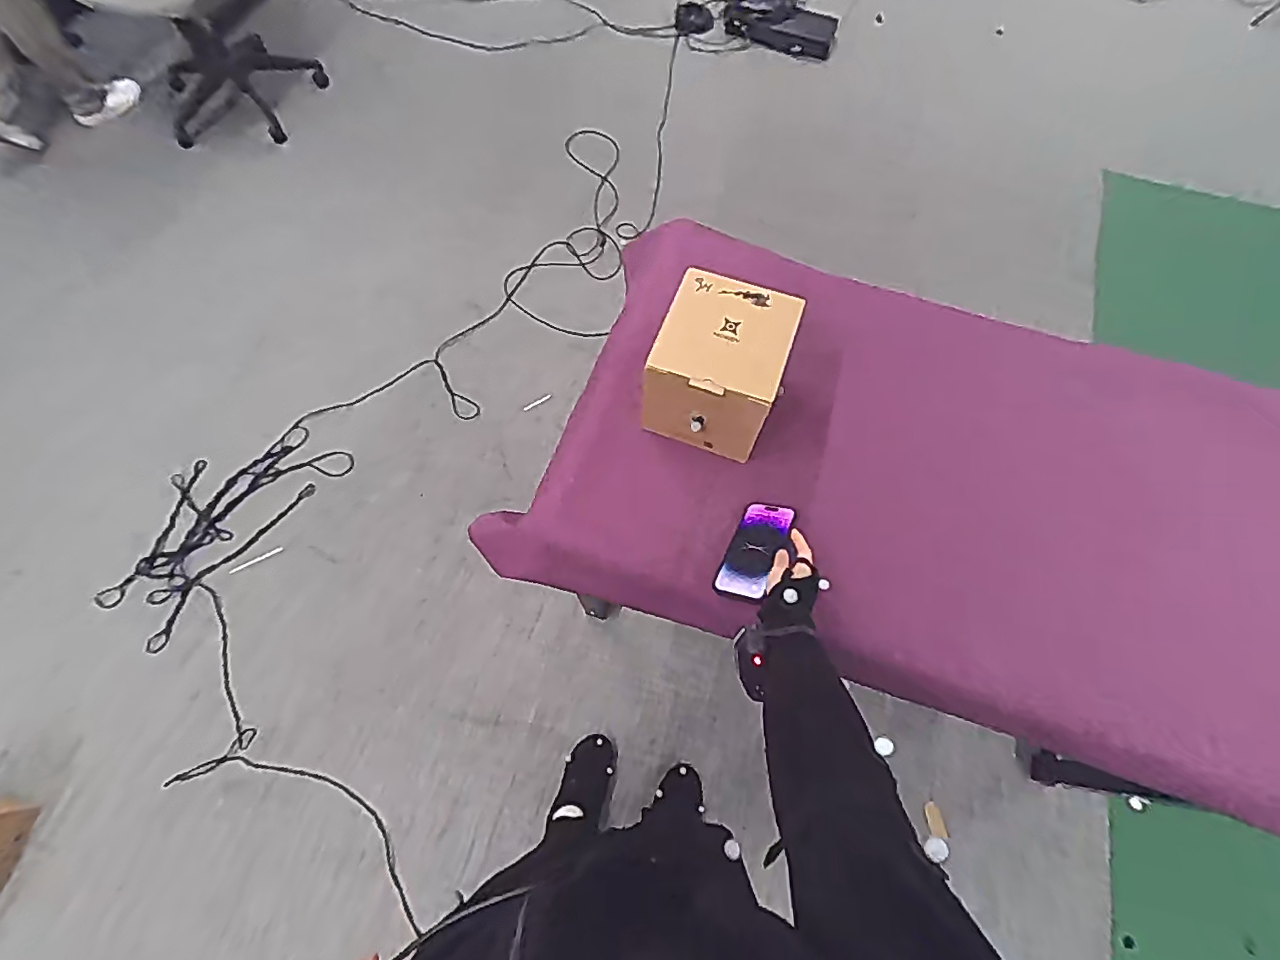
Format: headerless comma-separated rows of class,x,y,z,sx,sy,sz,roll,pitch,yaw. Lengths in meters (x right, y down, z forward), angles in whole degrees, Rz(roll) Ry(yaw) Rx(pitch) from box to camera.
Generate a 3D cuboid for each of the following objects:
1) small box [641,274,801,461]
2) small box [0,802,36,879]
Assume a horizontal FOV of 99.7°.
small box,0.109,-0.151,0.770,0.168,0.176,0.179,19,68,8
small box,-1.466,0.785,1.137,0.179,0.176,0.168,10,66,5
